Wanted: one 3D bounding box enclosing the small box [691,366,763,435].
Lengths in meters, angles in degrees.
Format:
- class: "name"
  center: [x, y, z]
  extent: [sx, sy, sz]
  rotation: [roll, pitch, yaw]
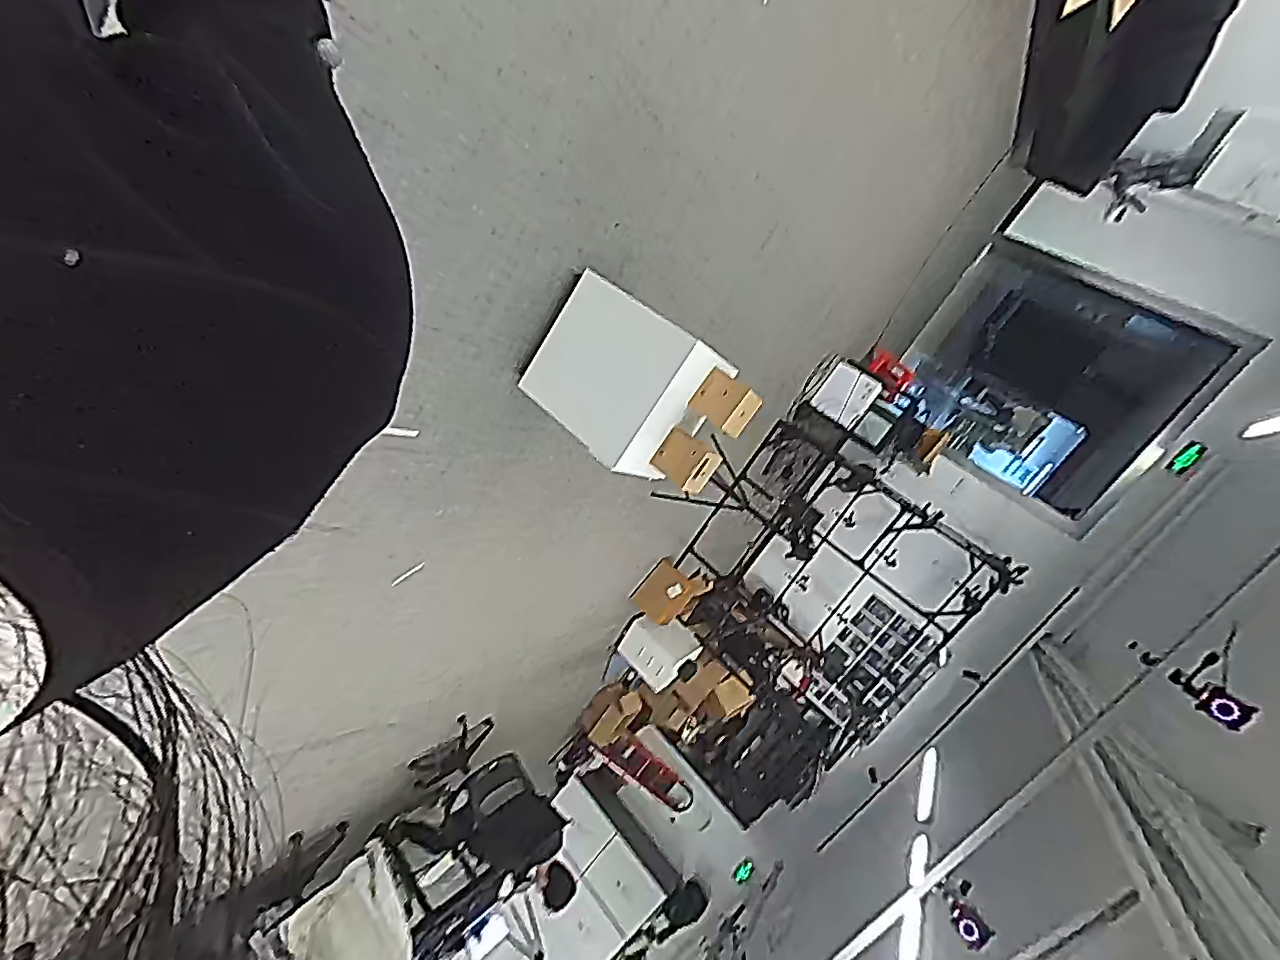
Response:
- class: "small box"
  center: [0.312, -0.287, 1.947]
  extent: [0.168, 0.176, 0.179]
  rotation: [-54, 154, 11]
